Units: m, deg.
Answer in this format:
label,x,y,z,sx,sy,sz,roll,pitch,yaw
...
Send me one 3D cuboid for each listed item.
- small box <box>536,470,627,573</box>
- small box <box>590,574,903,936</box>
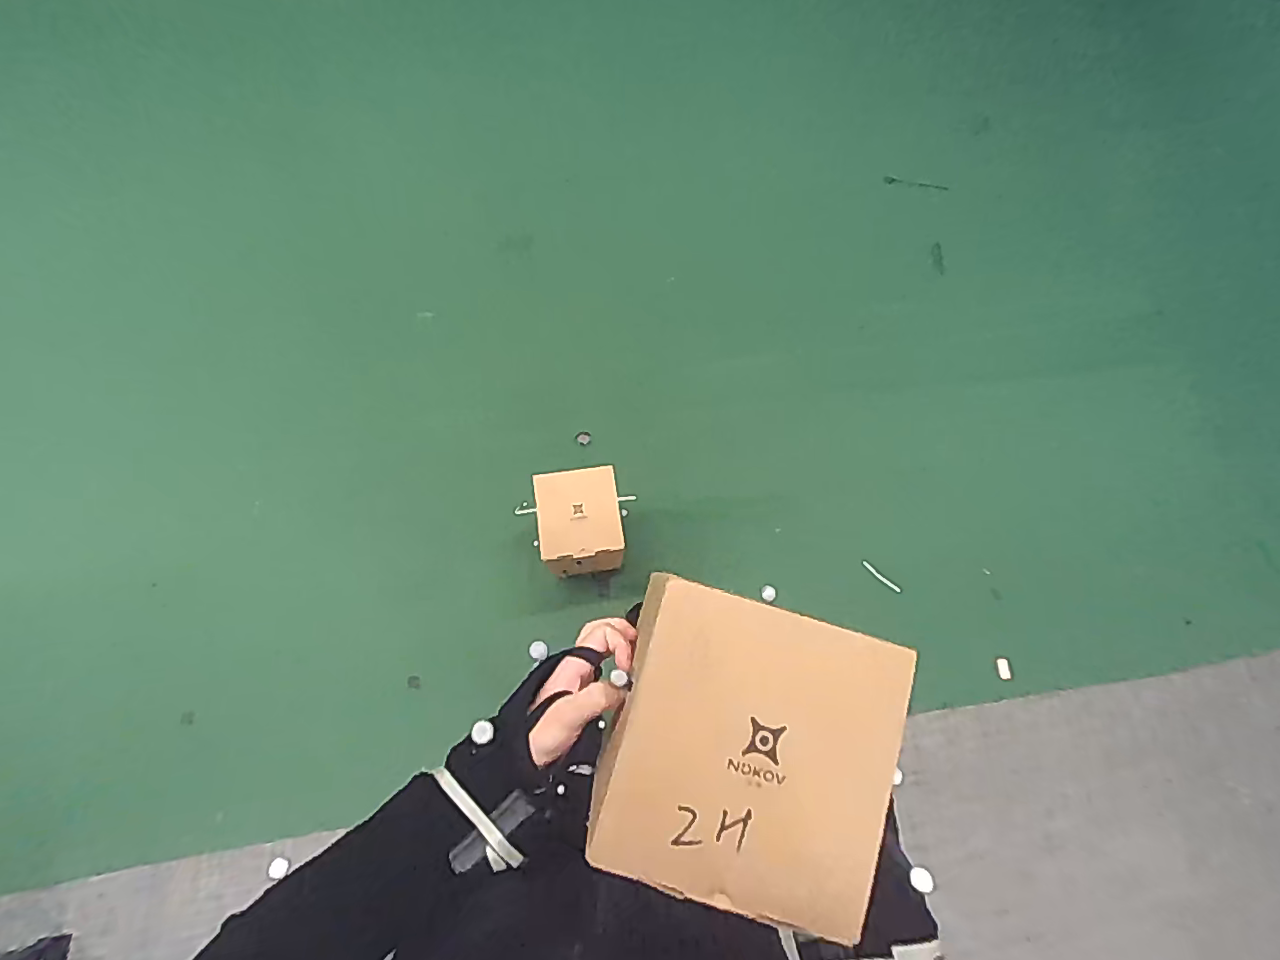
label,x,y,z,sx,sy,sz,roll,pitch,yaw
small box,-0.124,0.094,1.158,0.168,0.176,0.179,-8,75,-6
small box,0.066,0.178,0.412,0.168,0.176,0.179,16,80,1
